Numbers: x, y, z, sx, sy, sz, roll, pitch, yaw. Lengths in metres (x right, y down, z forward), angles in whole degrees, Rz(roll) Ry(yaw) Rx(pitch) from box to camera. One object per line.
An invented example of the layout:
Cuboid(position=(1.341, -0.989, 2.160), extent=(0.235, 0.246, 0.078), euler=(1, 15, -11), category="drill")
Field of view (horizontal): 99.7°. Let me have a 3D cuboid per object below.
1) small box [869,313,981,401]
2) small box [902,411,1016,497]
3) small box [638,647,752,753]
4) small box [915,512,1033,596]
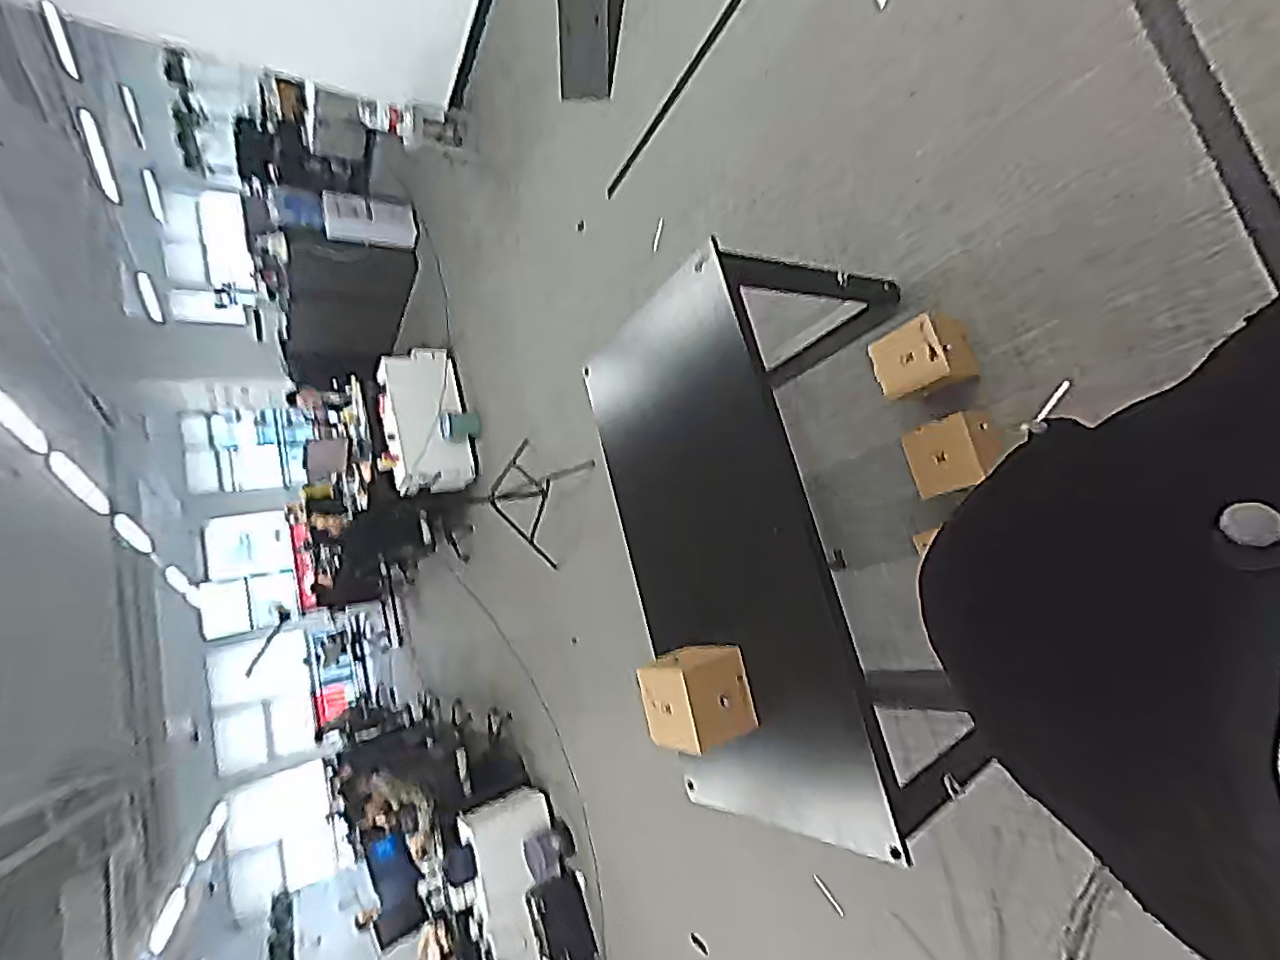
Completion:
Cuboid(position=(0.748, -0.318, 1.422), extent=(0.179, 0.176, 0.168), euler=(-31, 72, 53), category="small box")
Cuboid(position=(0.813, -0.067, 1.380), extent=(0.168, 0.176, 0.179), euler=(-30, 73, 54), category="small box")
Cuboid(position=(0.124, 0.470, 1.183), extent=(0.179, 0.176, 0.168), euler=(-24, 75, 54), category="small box")
Cuboid(position=(0.848, 0.189, 1.375), extent=(0.179, 0.176, 0.168), euler=(-30, 72, 52), category="small box")
